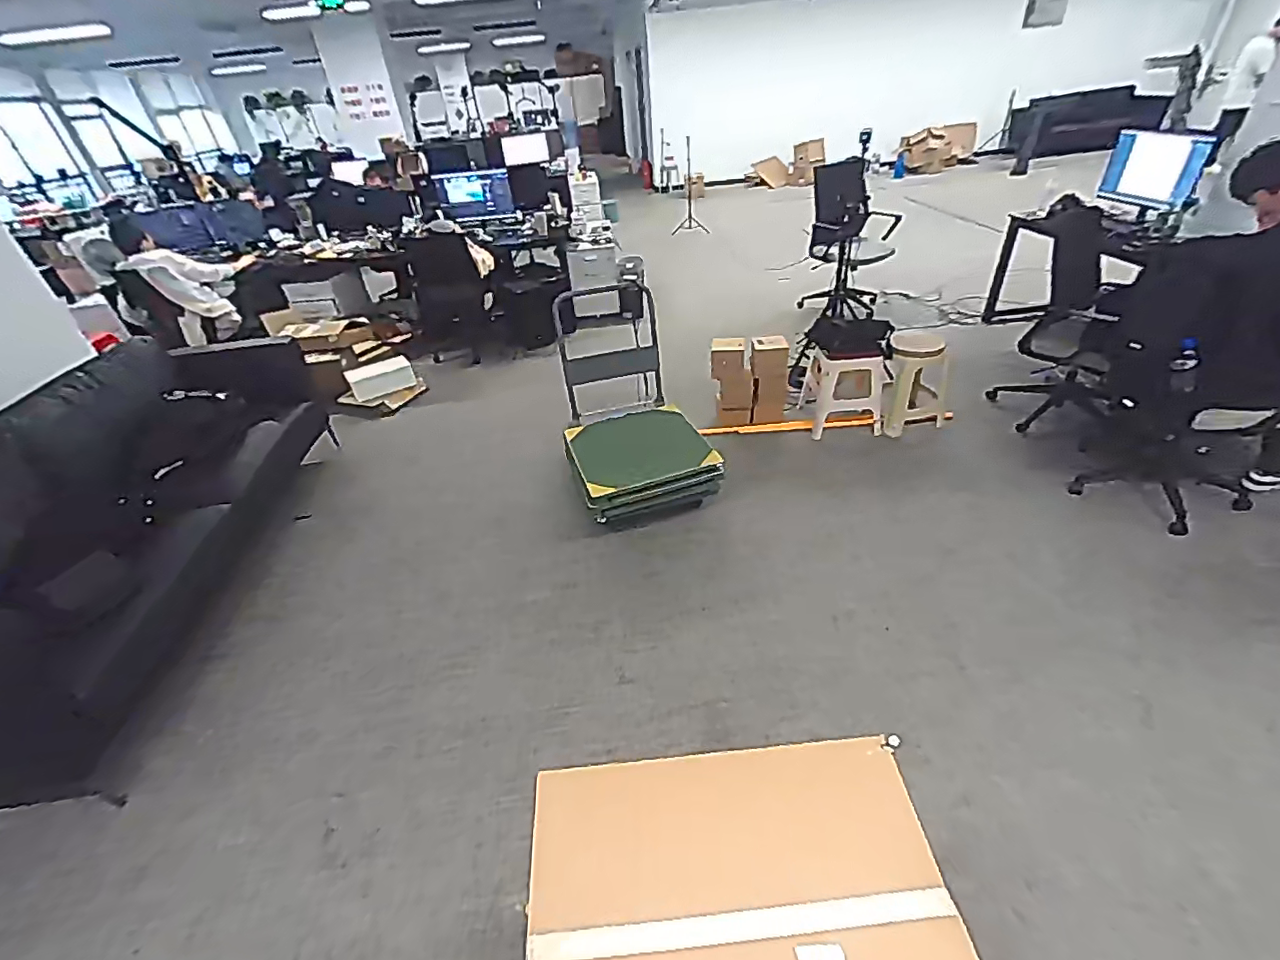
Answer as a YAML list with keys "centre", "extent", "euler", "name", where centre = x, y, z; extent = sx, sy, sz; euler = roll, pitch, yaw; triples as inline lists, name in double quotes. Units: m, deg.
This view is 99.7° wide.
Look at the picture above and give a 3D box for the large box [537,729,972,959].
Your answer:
- centre: [0.105, 0.528, 0.620]
  extent: [0.408, 0.320, 0.320]
  euler: [-6, 44, -2]
  name: "large box"
